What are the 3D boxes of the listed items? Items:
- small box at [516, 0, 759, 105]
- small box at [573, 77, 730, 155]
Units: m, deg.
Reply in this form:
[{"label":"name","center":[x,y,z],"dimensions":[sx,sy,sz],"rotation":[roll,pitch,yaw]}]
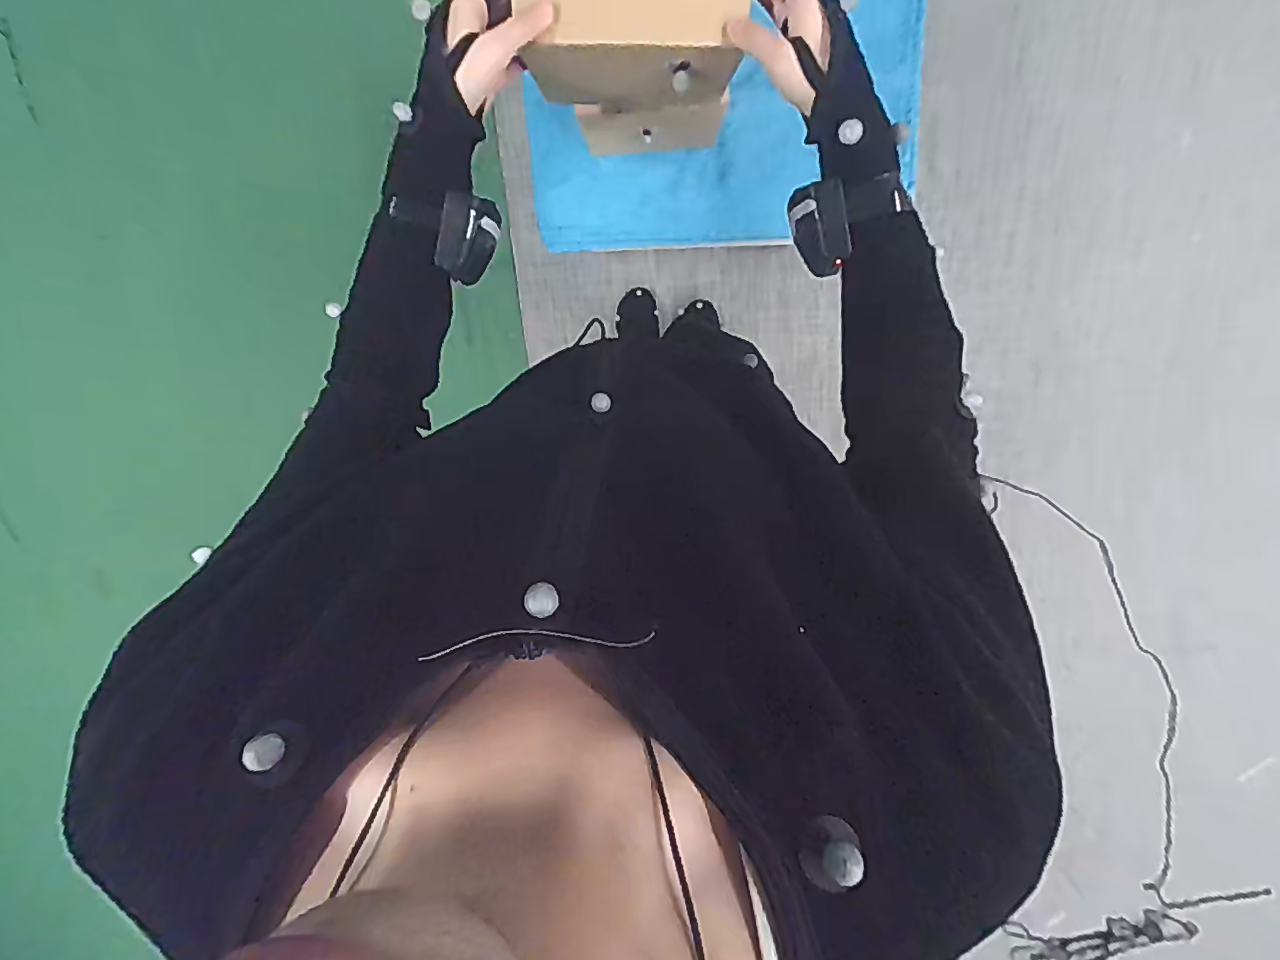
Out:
[{"label":"small box","center":[-0.002,-0.423,0.436],"dimensions":[0.179,0.176,0.168],"rotation":[1,111,0]},{"label":"small box","center":[0.010,-0.511,0.653],"dimensions":[0.179,0.176,0.168],"rotation":[-3,107,3]}]
